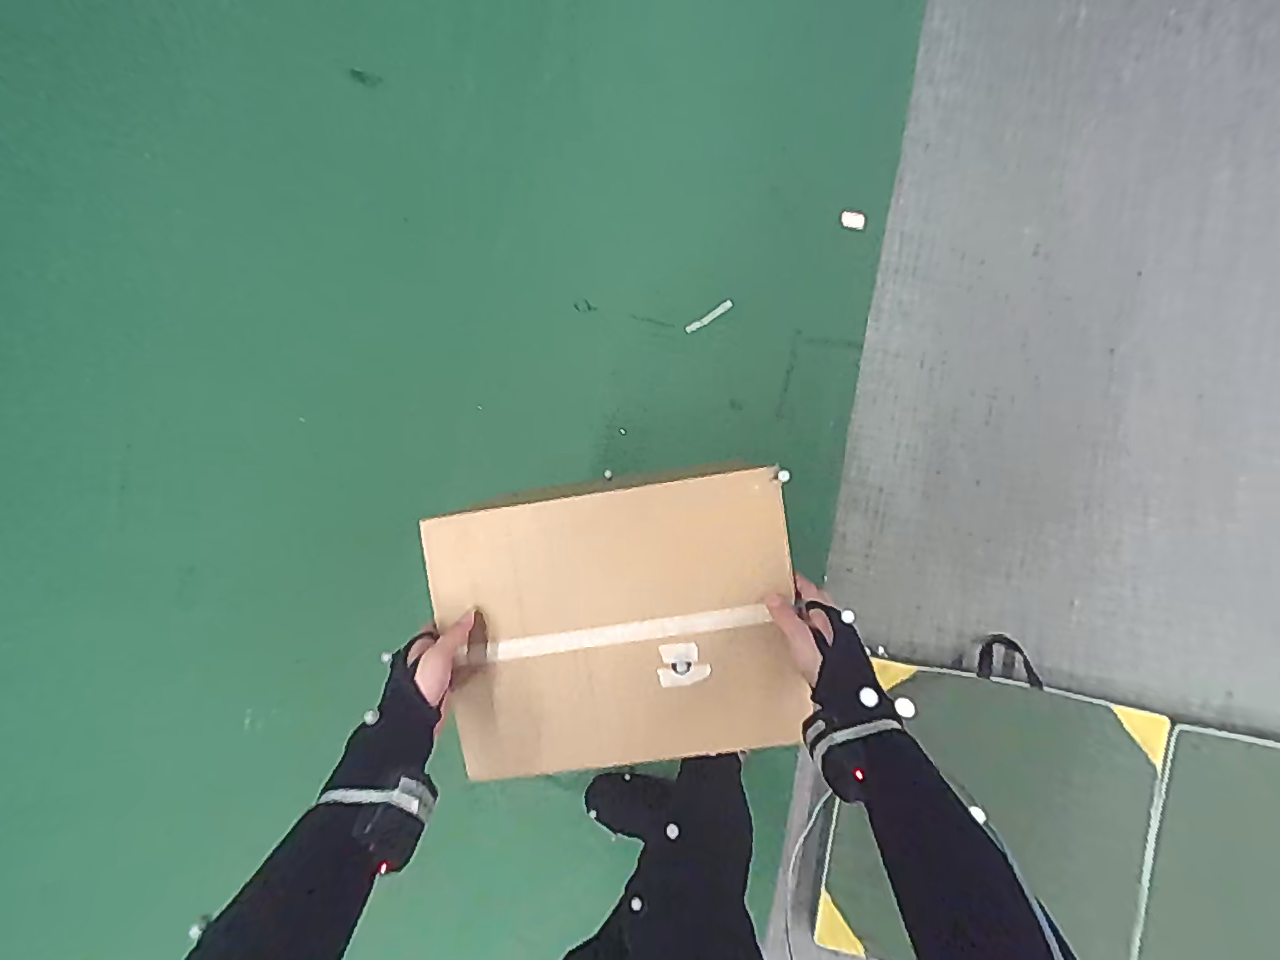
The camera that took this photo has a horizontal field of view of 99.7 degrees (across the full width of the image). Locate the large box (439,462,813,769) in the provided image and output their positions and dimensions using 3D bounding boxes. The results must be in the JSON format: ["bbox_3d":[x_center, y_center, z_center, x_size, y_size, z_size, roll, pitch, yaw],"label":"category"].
[{"bbox_3d":[-0.013,0.157,0.777,0.408,0.320,0.320,-9,94,3],"label":"large box"}]
